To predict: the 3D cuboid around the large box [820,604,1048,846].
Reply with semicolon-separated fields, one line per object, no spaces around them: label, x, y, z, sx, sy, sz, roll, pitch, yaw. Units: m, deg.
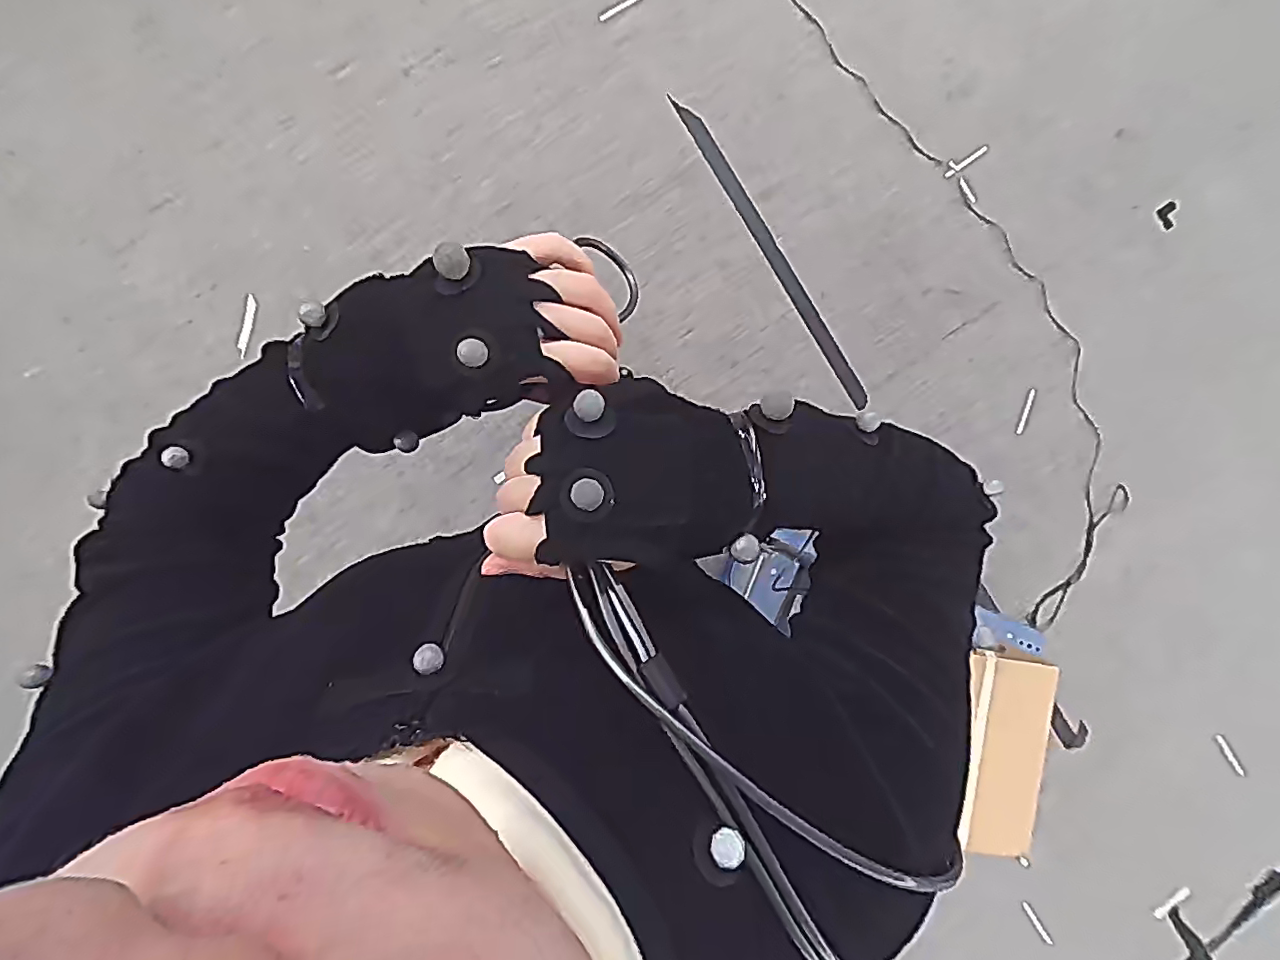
large box;0.650;0.535;1.252;0.320;0.320;0.408;10;91;-4
